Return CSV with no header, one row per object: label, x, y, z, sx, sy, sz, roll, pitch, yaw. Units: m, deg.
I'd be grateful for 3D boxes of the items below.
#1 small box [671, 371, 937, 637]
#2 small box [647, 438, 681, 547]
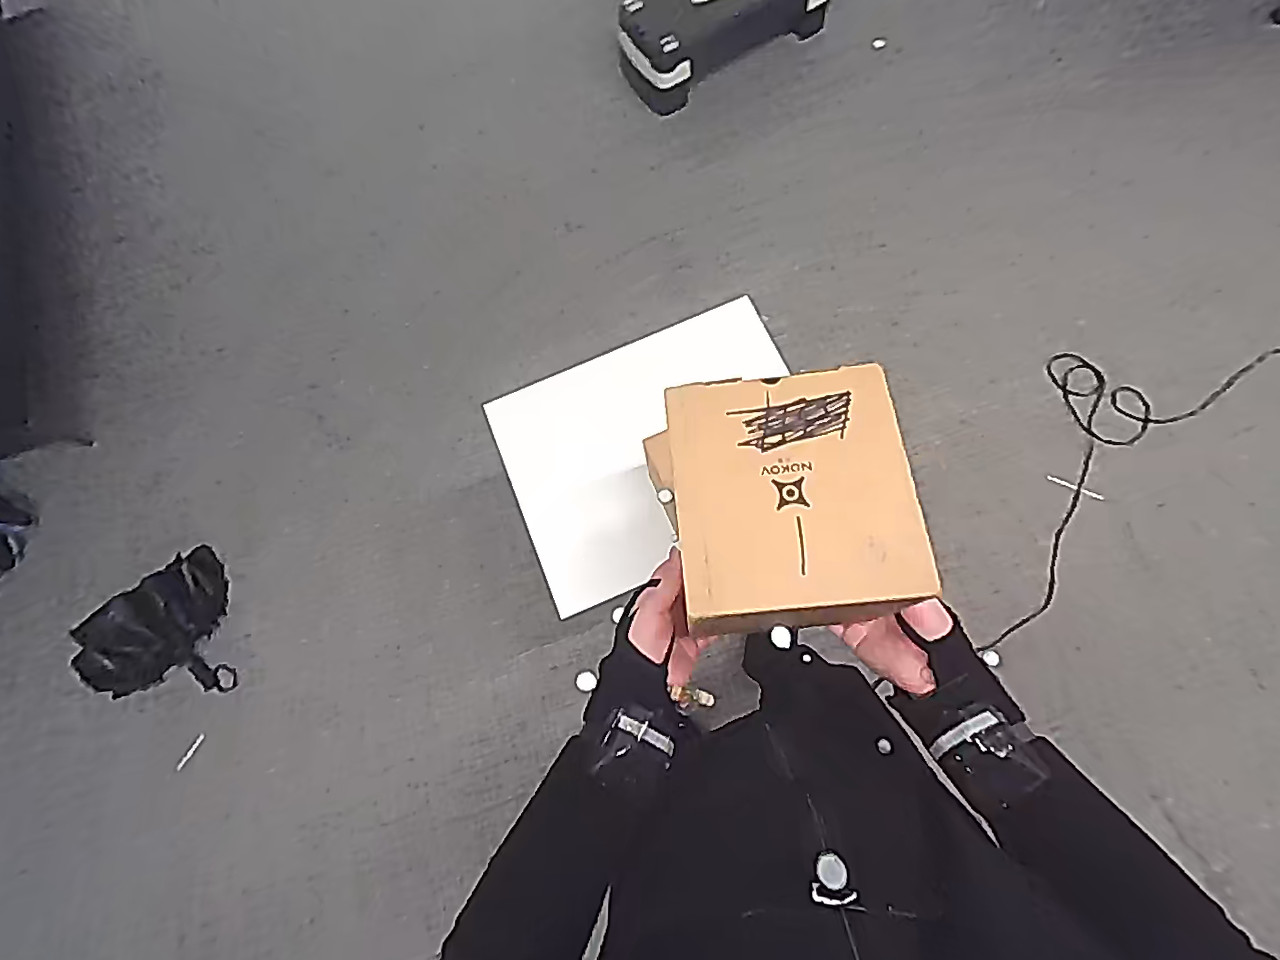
small box,0.117,0.032,0.464,0.168,0.176,0.179,-6,68,4
small box,0.122,0.024,0.799,0.168,0.176,0.179,-24,72,-3
